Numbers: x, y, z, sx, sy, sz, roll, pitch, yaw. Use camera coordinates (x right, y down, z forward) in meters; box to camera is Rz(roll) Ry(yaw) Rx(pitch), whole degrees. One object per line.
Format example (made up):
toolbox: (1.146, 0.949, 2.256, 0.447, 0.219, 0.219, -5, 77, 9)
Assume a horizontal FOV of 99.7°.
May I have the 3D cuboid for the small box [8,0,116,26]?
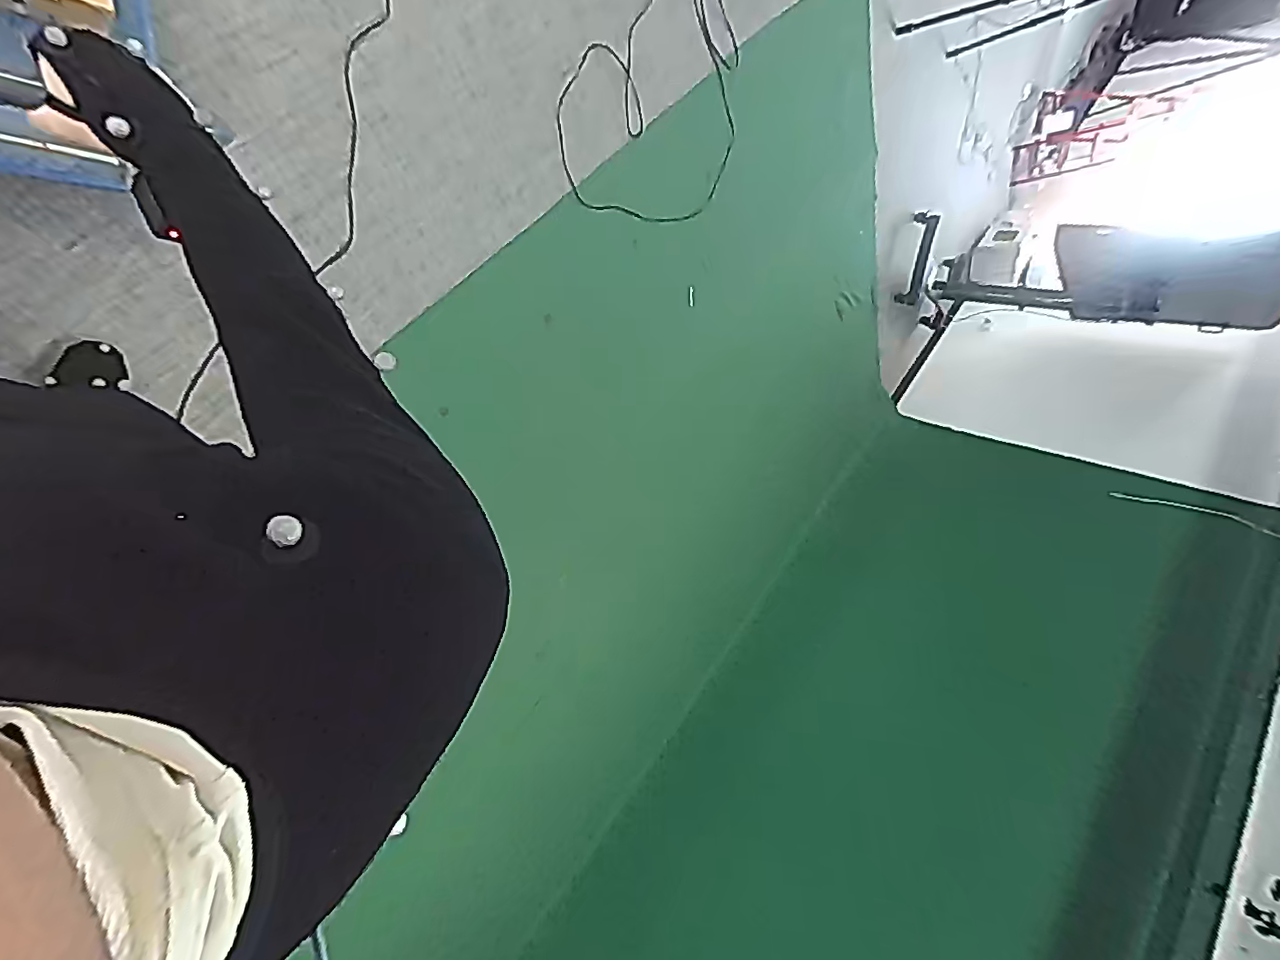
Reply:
small box: (-0.871, -0.784, 0.755, 0.168, 0.176, 0.179, -14, 119, -45)
